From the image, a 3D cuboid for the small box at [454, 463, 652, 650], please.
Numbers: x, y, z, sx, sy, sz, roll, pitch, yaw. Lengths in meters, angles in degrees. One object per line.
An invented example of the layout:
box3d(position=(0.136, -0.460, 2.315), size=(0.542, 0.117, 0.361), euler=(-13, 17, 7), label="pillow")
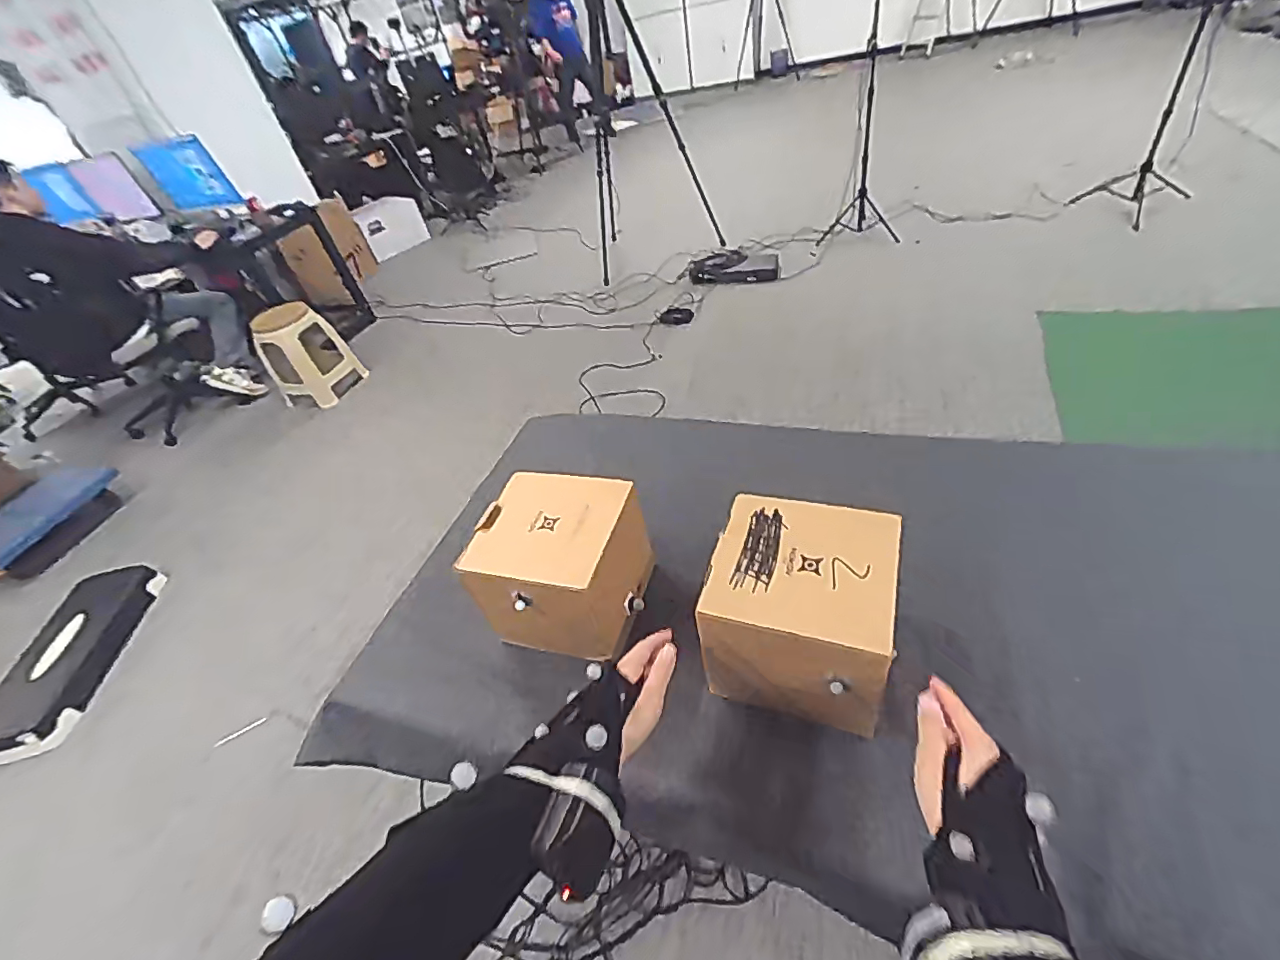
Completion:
box3d(position=(-0.098, 0.098, 0.703), size=(0.179, 0.176, 0.168), euler=(6, 47, 20), label="small box")
